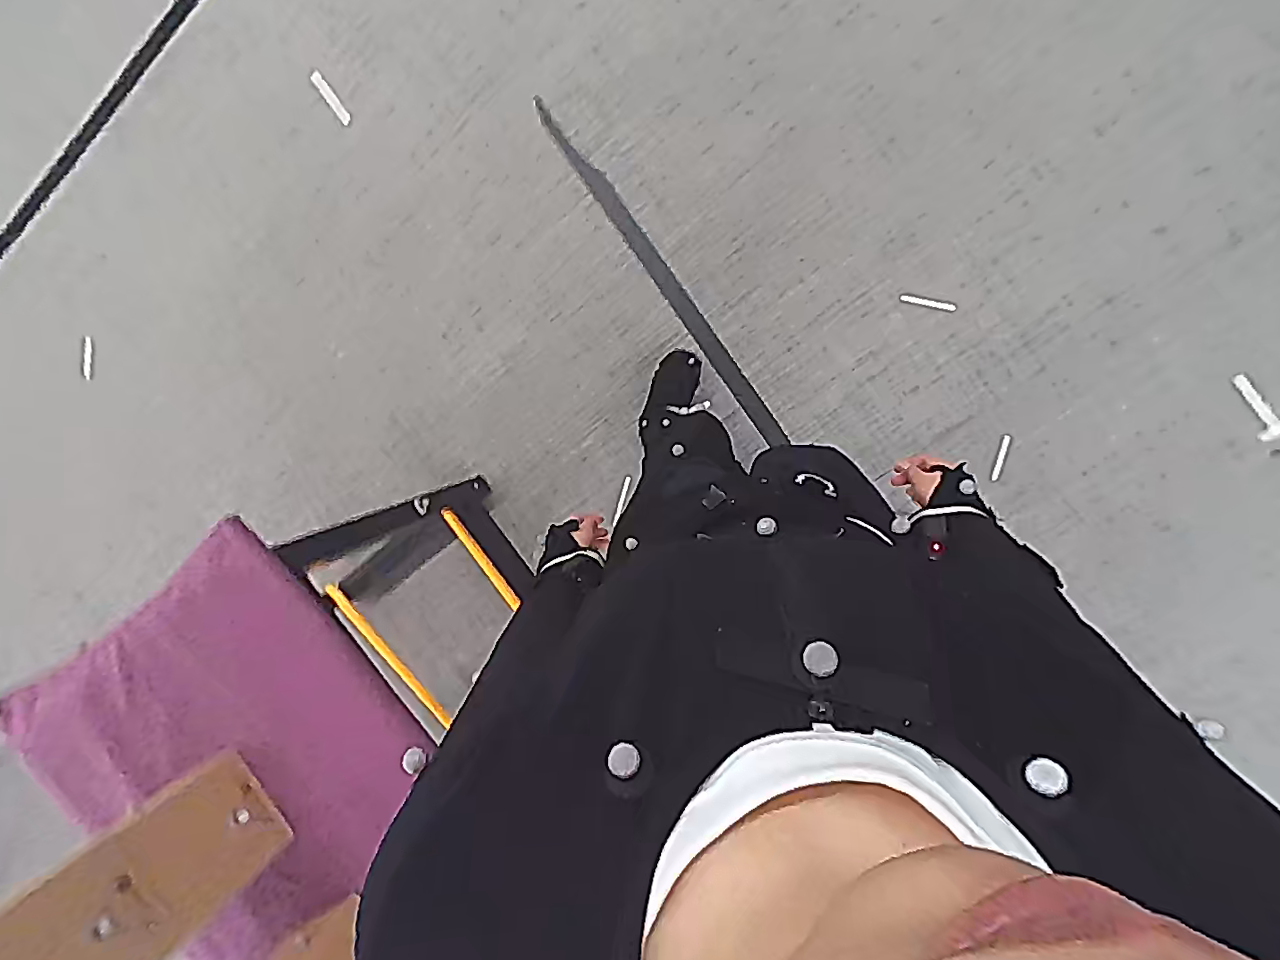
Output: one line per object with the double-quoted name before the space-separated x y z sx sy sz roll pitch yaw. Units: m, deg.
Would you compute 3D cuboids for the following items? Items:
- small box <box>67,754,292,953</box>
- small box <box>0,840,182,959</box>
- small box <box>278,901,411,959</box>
"small box" -0.643 0.528 0.752 0.179 0.176 0.168 -33 93 12
"small box" -0.670 0.550 0.591 0.179 0.176 0.168 -33 93 12
"small box" -0.442 0.754 0.757 0.168 0.176 0.179 -37 91 13
